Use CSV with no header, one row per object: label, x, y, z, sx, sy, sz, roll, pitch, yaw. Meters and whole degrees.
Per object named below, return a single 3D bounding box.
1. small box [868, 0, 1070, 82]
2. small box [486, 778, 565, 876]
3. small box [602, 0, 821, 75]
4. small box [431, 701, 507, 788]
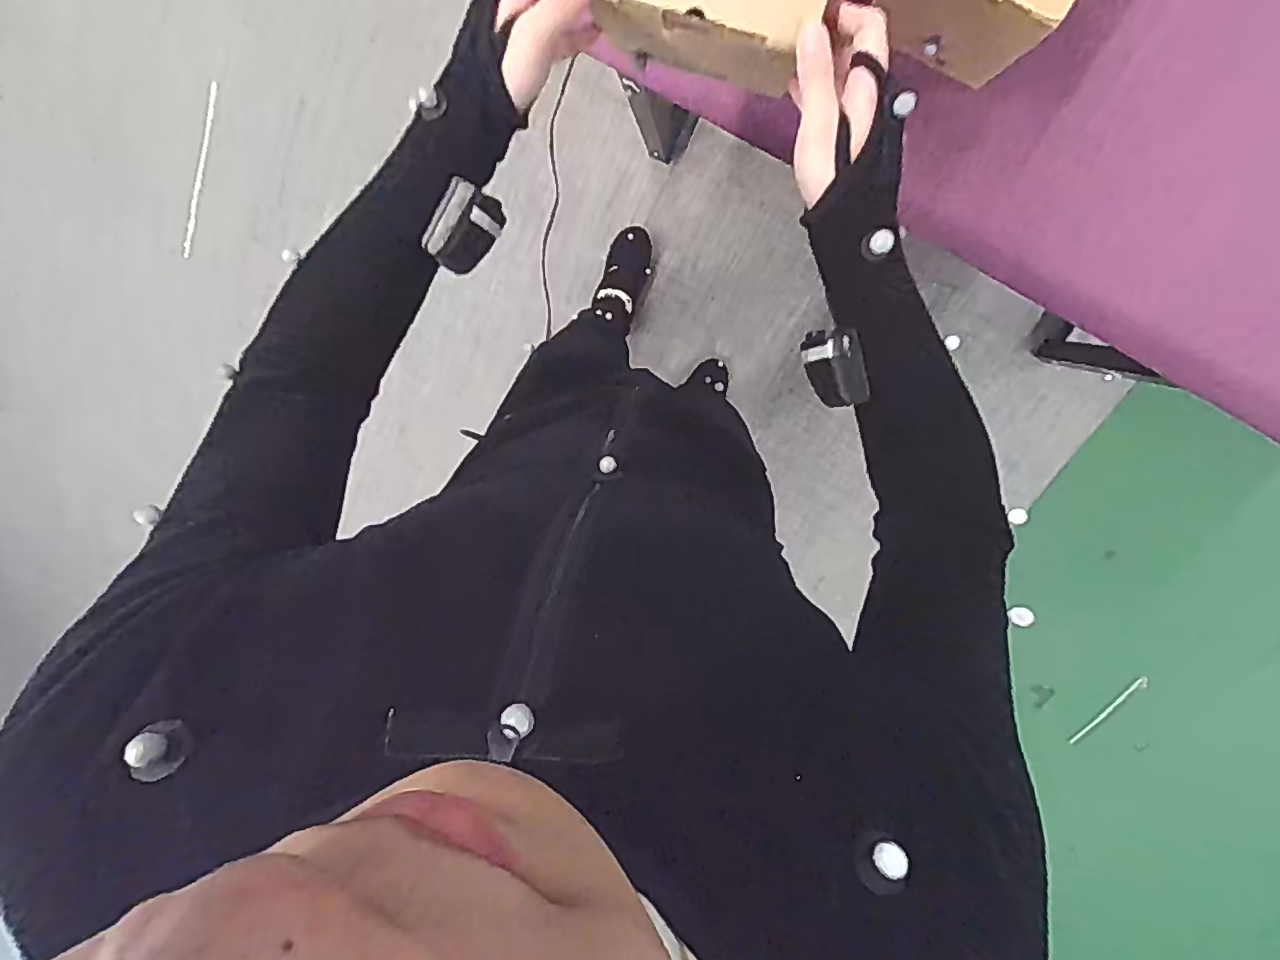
small box,0.368,-0.569,0.562,0.168,0.176,0.179,25,109,-2
small box,-0.361,1.114,1.745,0.168,0.176,0.179,32,110,-4
small box,0.065,-0.424,0.385,0.168,0.176,0.179,15,117,-1
small box,-0.585,0.910,1.872,0.168,0.176,0.179,31,109,-6
